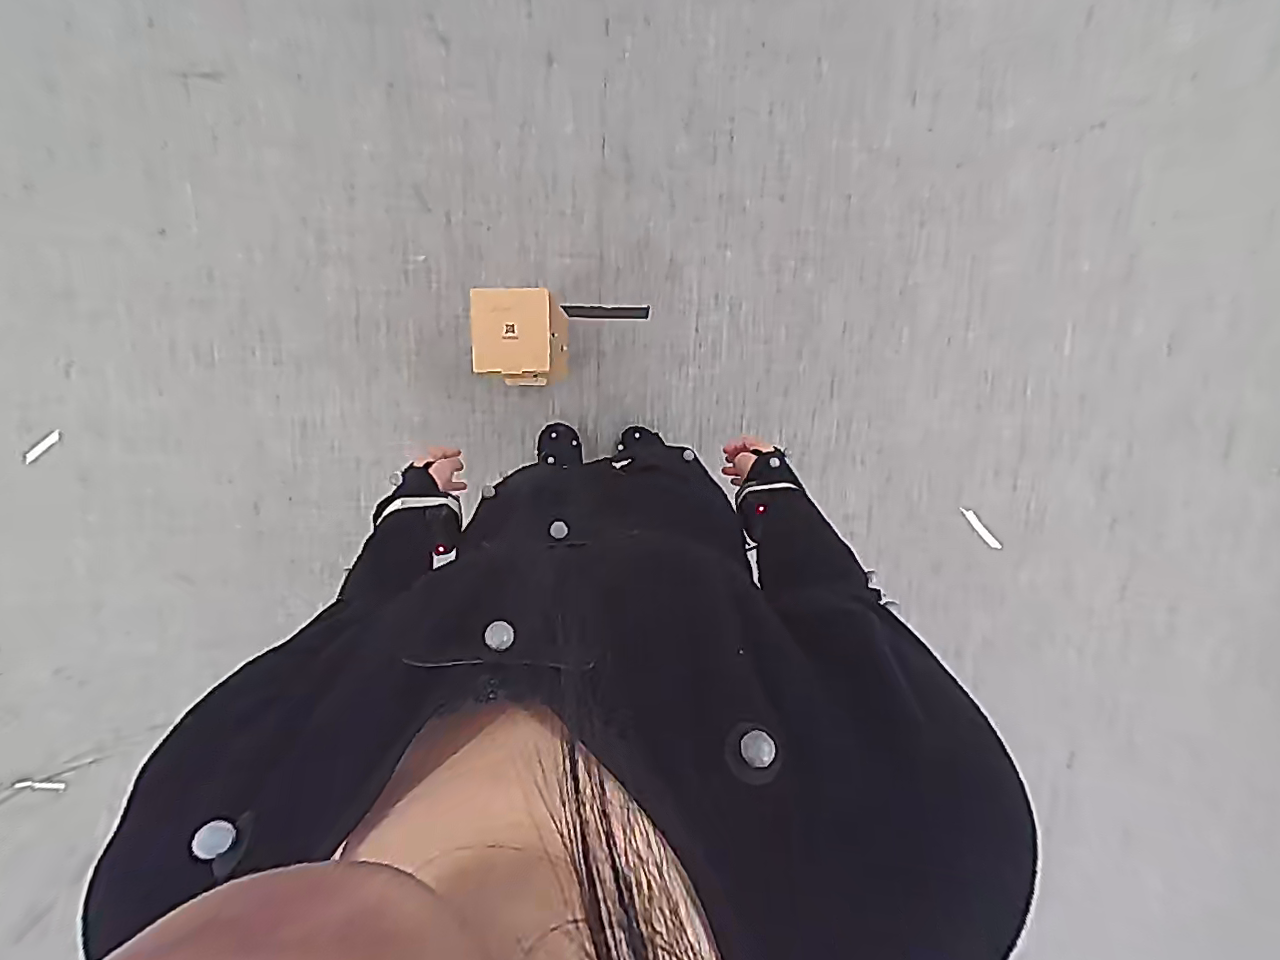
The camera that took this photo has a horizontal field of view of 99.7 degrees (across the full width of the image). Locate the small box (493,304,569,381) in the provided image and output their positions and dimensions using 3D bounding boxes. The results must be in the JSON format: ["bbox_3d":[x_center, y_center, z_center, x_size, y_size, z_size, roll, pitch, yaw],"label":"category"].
[{"bbox_3d":[-0.273,-0.344,1.374,0.168,0.176,0.179,0,96,0],"label":"small box"}]

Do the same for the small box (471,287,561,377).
[{"bbox_3d":[-0.270,-0.324,1.213,0.168,0.176,0.179,0,96,-1],"label":"small box"}]
